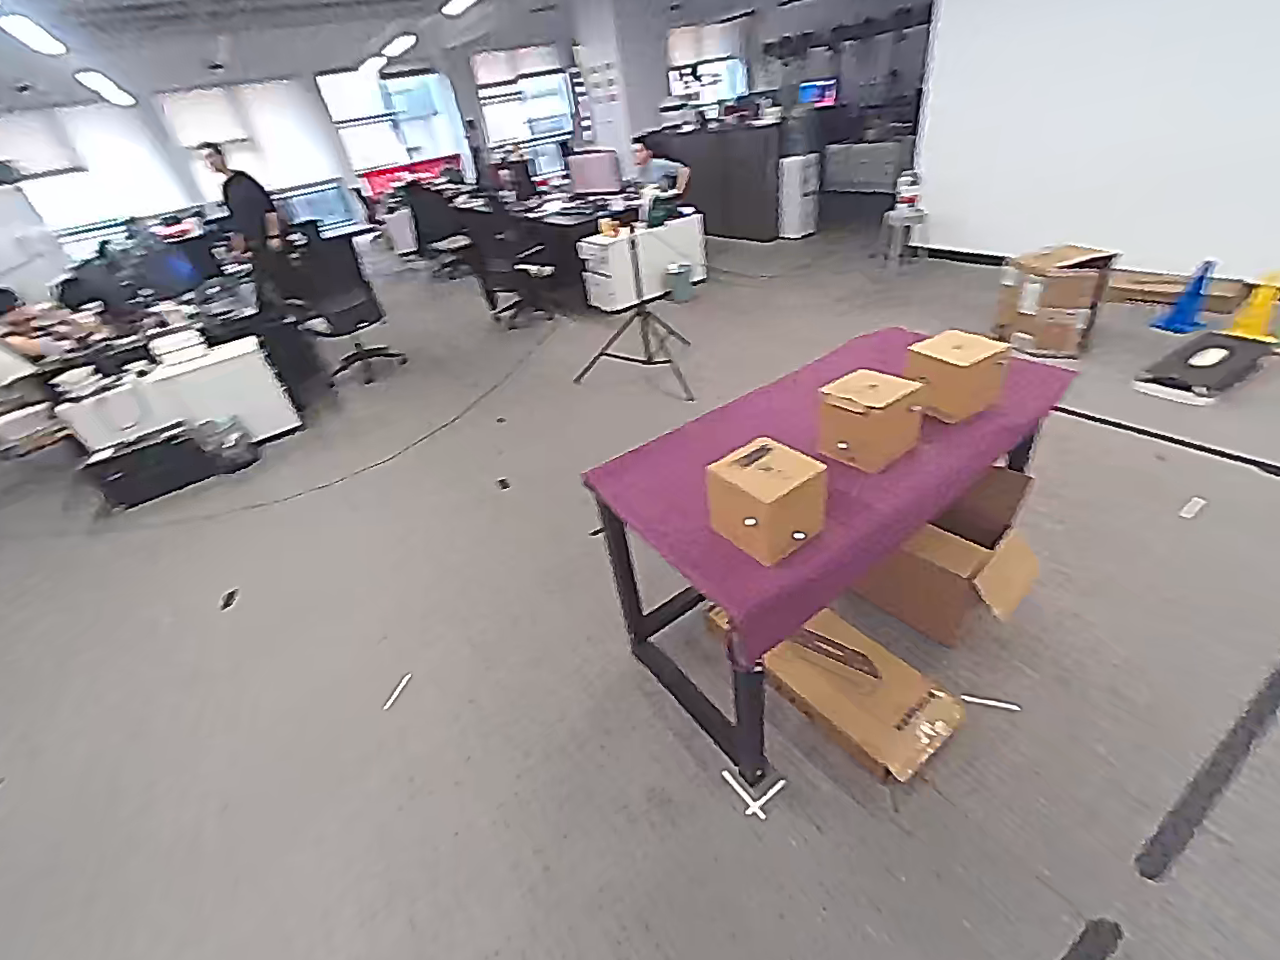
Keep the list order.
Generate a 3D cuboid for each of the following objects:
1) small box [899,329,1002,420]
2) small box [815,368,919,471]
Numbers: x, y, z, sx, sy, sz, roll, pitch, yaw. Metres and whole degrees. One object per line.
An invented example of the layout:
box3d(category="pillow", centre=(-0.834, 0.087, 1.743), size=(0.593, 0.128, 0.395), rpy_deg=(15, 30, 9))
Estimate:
box3d(category="small box", centre=(0.812, -0.279, 1.434), size=(0.179, 0.176, 0.168), rpy_deg=(-24, 37, -19))
box3d(category="small box", centre=(0.545, -0.149, 1.319), size=(0.179, 0.176, 0.168), rpy_deg=(-29, 36, -25))
